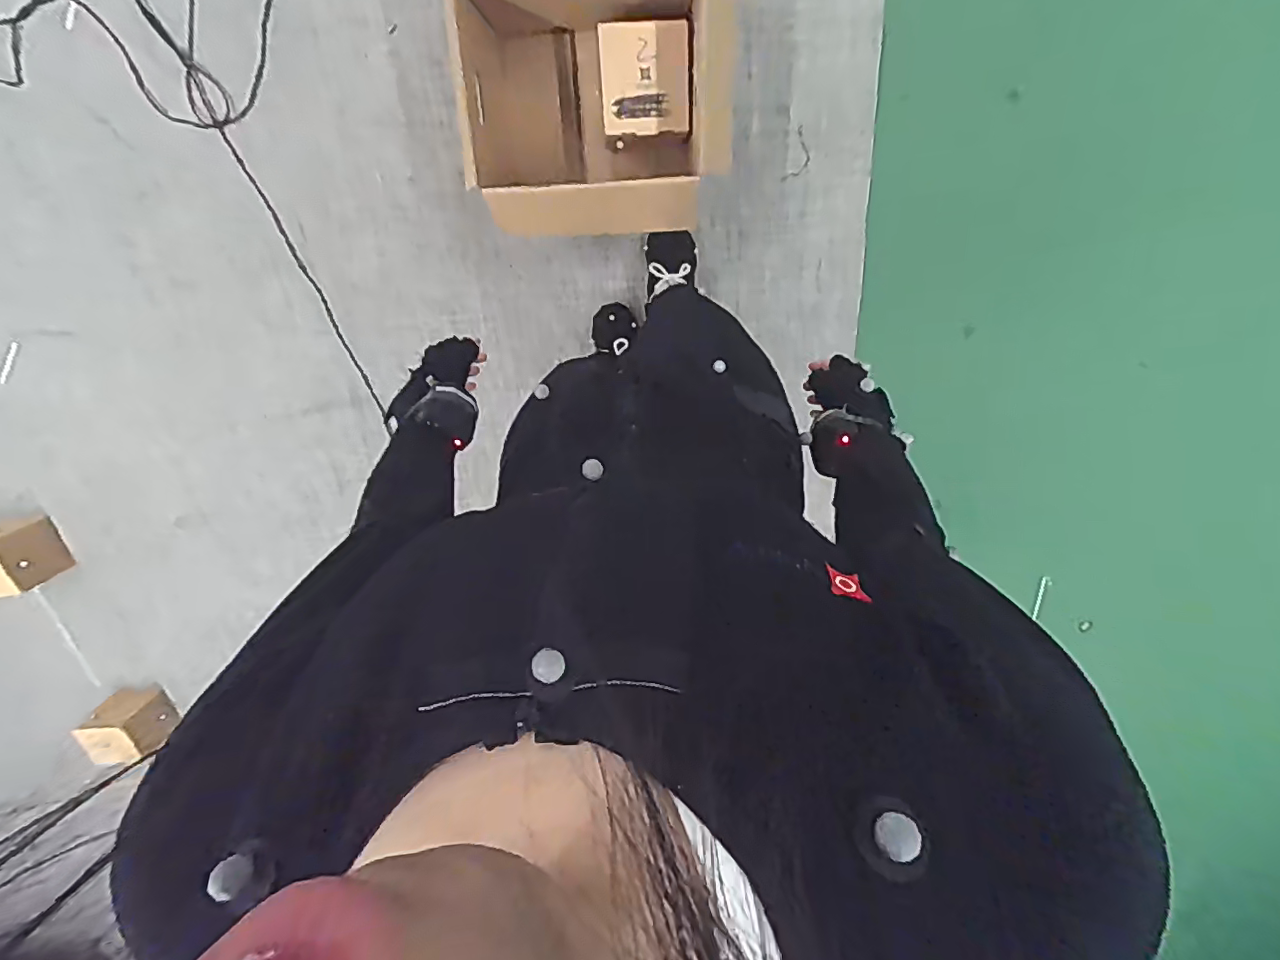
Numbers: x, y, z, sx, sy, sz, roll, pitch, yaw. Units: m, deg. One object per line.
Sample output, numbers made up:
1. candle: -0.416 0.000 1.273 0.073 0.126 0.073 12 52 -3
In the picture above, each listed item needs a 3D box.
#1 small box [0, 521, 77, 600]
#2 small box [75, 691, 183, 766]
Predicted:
1. small box: -1.821 0.228 1.565 0.168 0.176 0.179 -5 115 2
2. small box: -1.739 0.846 1.850 0.179 0.176 0.168 -5 115 3
